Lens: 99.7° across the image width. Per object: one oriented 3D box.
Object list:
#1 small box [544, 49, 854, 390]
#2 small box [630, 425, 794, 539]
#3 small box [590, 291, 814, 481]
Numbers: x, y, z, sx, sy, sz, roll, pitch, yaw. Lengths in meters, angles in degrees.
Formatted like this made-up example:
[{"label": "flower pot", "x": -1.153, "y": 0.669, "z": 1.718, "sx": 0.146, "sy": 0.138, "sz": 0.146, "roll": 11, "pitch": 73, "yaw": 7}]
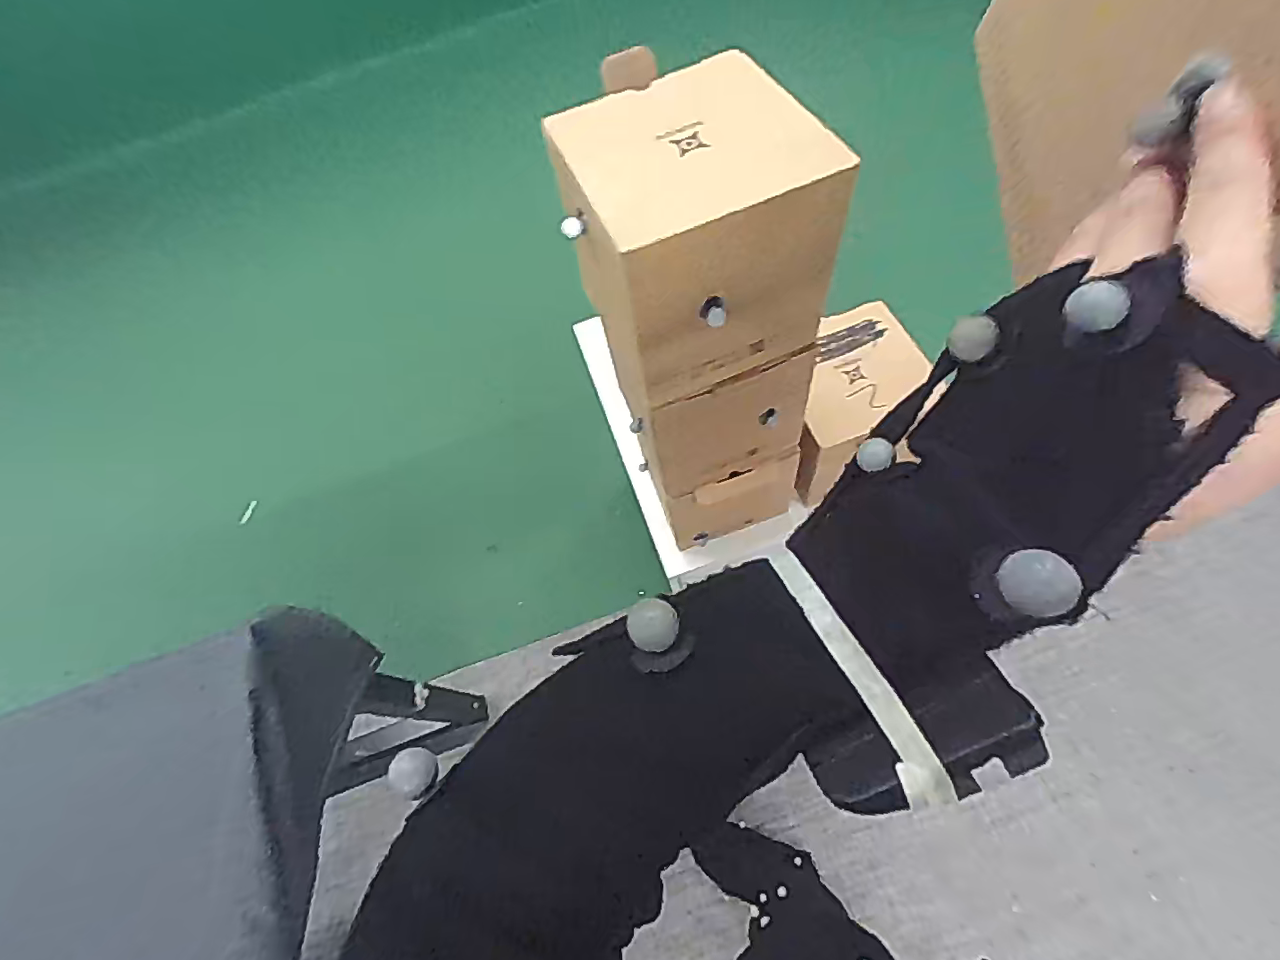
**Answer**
[{"label": "small box", "x": 0.042, "y": -0.197, "z": 0.443, "sx": 0.168, "sy": 0.176, "sz": 0.179, "roll": -22, "pitch": 61, "yaw": -5}, {"label": "small box", "x": 0.088, "y": -0.037, "z": 0.722, "sx": 0.168, "sy": 0.176, "sz": 0.179, "roll": -19, "pitch": 61, "yaw": -2}, {"label": "small box", "x": 0.062, "y": -0.118, "z": 0.584, "sx": 0.168, "sy": 0.176, "sz": 0.179, "roll": -21, "pitch": 61, "yaw": -4}]
